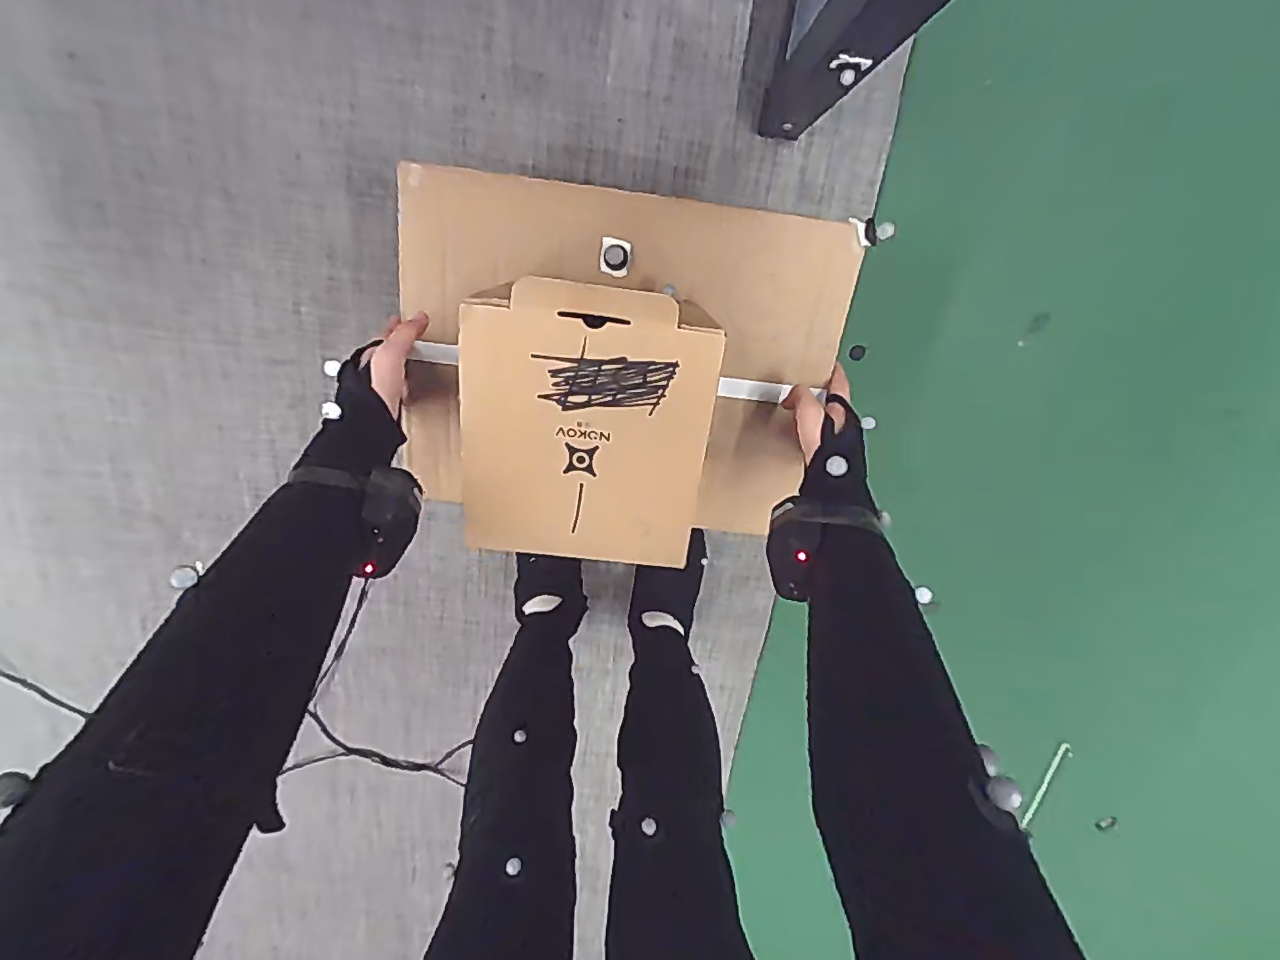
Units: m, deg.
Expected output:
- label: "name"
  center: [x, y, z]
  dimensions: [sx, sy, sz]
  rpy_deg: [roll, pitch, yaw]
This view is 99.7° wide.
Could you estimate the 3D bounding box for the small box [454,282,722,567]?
- label: "small box"
  center: [-0.042, -0.055, 0.432]
  dimensions: [0.168, 0.176, 0.179]
  rpy_deg: [7, 114, -3]
